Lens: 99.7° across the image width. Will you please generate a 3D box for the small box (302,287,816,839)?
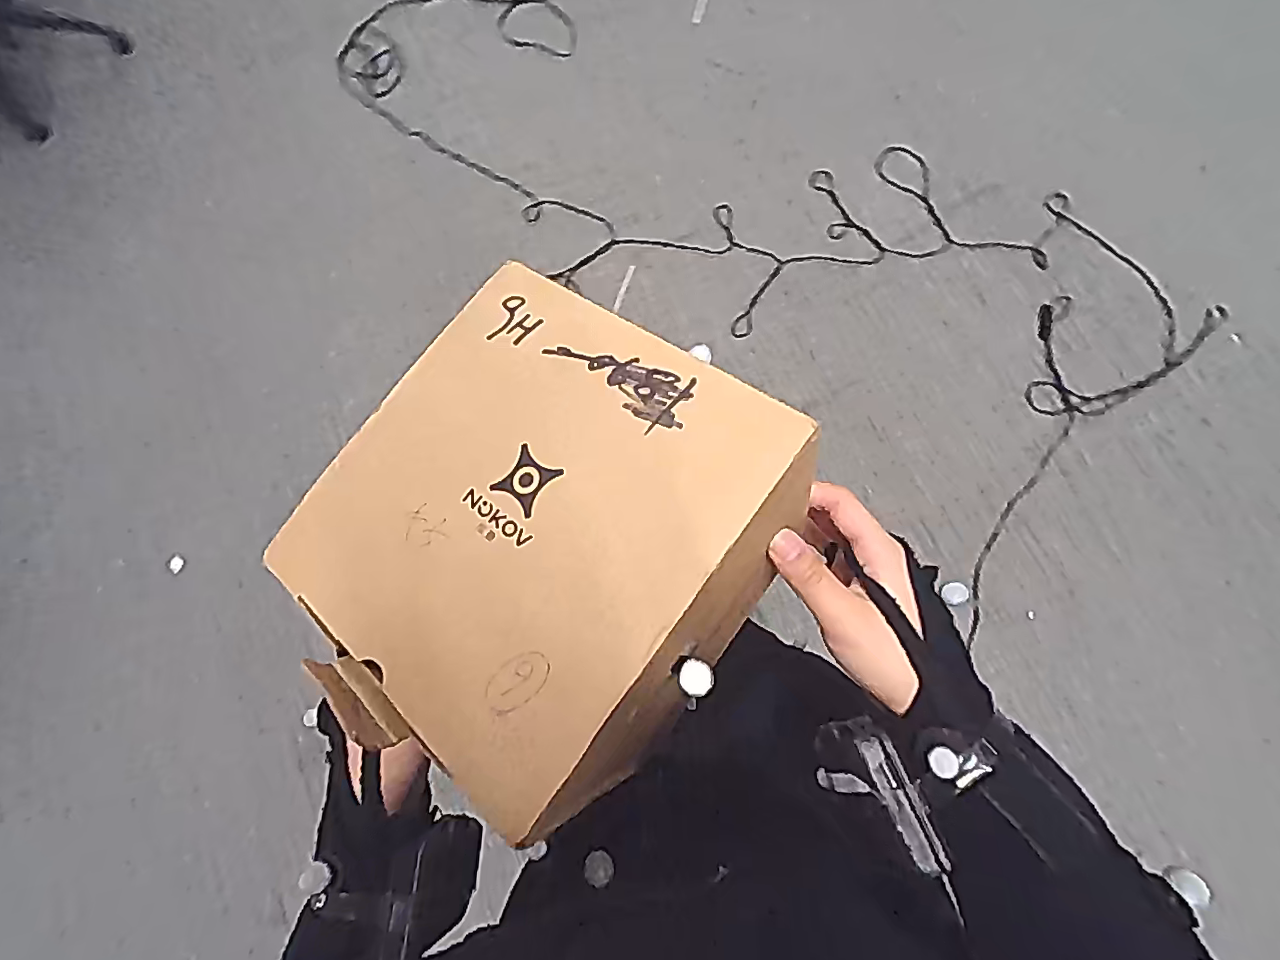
[{"bbox_3d":[-0.023,0.040,0.297,0.168,0.176,0.179,35,83,22],"label":"small box"}]
